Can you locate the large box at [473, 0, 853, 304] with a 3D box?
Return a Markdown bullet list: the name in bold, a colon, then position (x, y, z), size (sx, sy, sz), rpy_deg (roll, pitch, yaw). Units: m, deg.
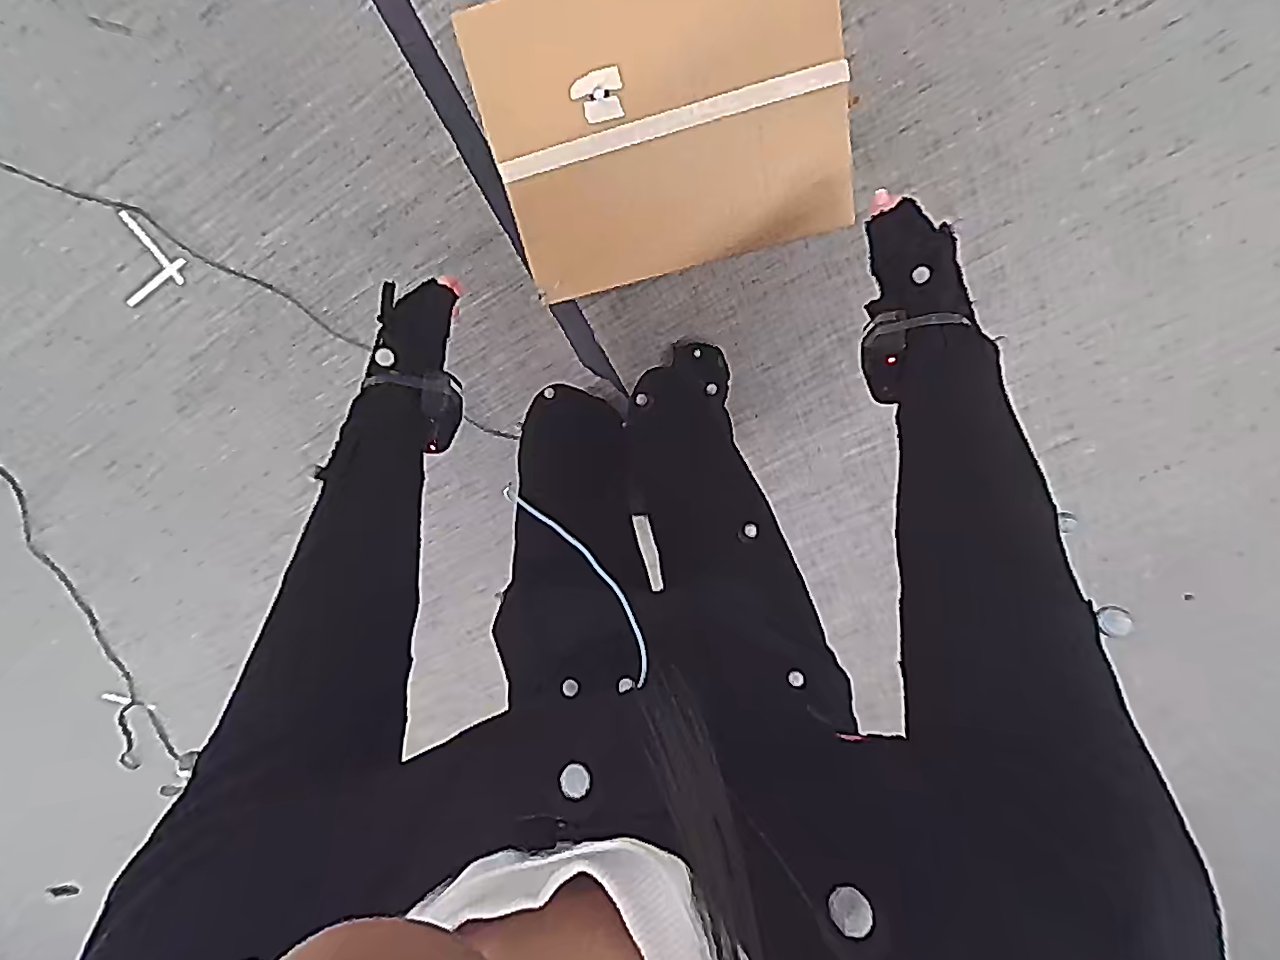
- **large box**: position (0.045, -0.480, 0.775), size (0.408, 0.320, 0.320), rpy_deg (-12, 114, 8)
